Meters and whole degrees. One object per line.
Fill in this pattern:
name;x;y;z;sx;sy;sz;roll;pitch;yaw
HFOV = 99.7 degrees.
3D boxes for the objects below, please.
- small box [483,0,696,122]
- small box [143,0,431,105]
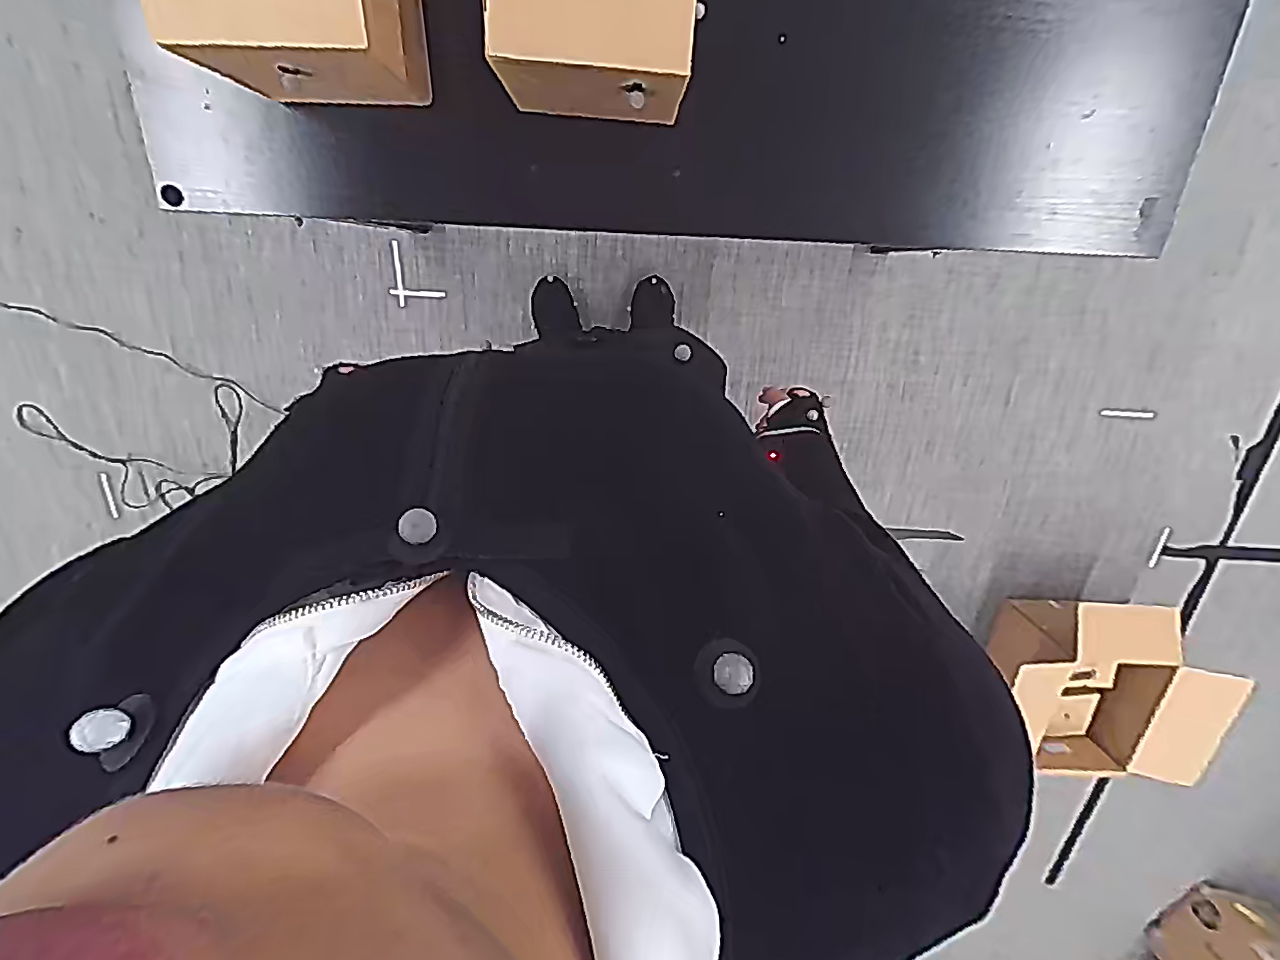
small box;-0.042;-0.453;0.504;0.179;0.176;0.168;3;111;-3
small box;-0.314;-0.462;0.493;0.179;0.176;0.168;0;111;-1
